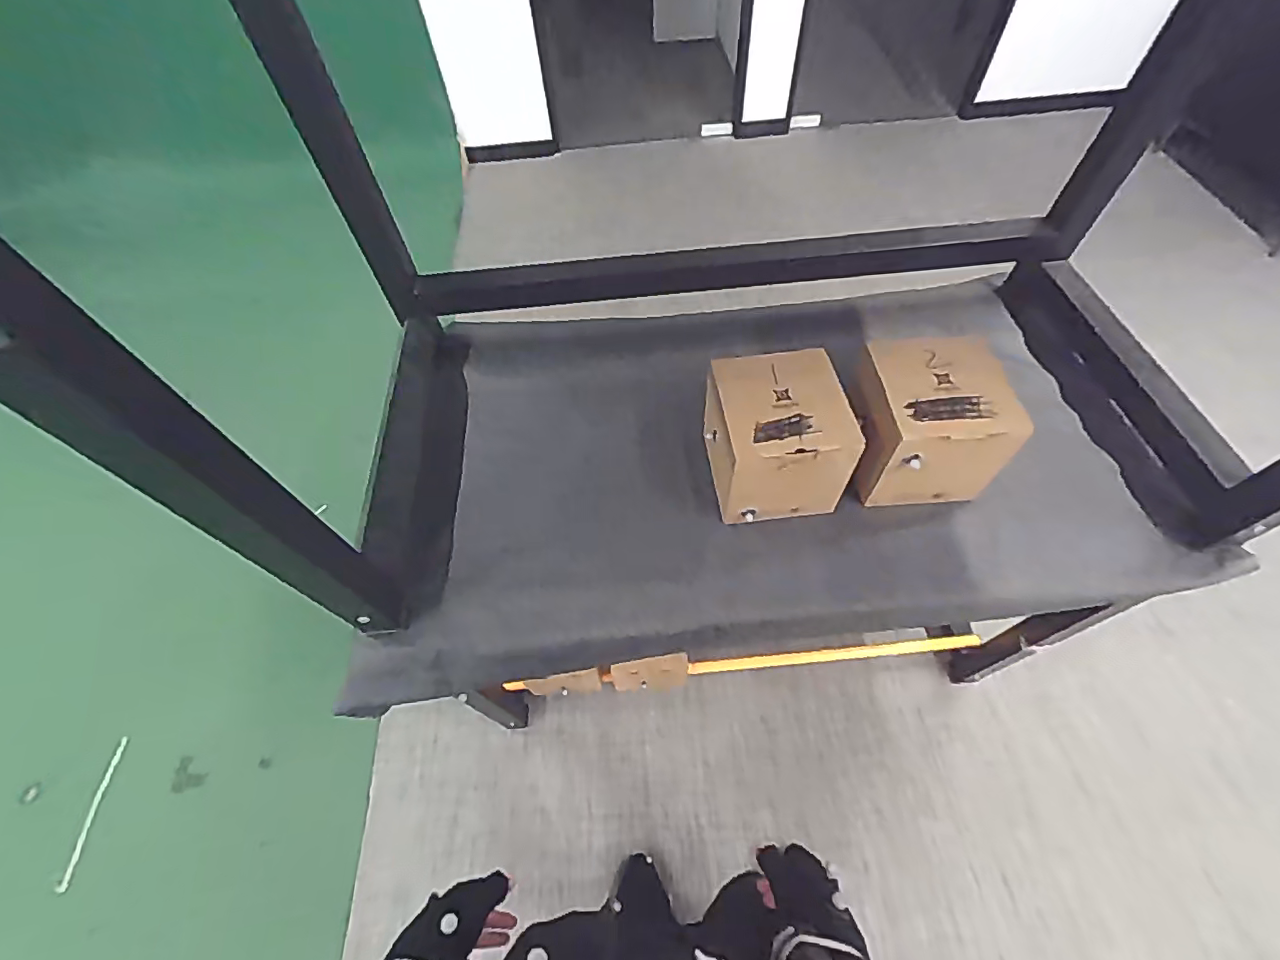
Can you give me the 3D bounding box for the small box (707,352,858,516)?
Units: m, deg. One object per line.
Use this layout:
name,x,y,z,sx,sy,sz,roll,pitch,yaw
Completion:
small box,0.194,-0.059,0.795,0.168,0.176,0.179,-7,56,-1
